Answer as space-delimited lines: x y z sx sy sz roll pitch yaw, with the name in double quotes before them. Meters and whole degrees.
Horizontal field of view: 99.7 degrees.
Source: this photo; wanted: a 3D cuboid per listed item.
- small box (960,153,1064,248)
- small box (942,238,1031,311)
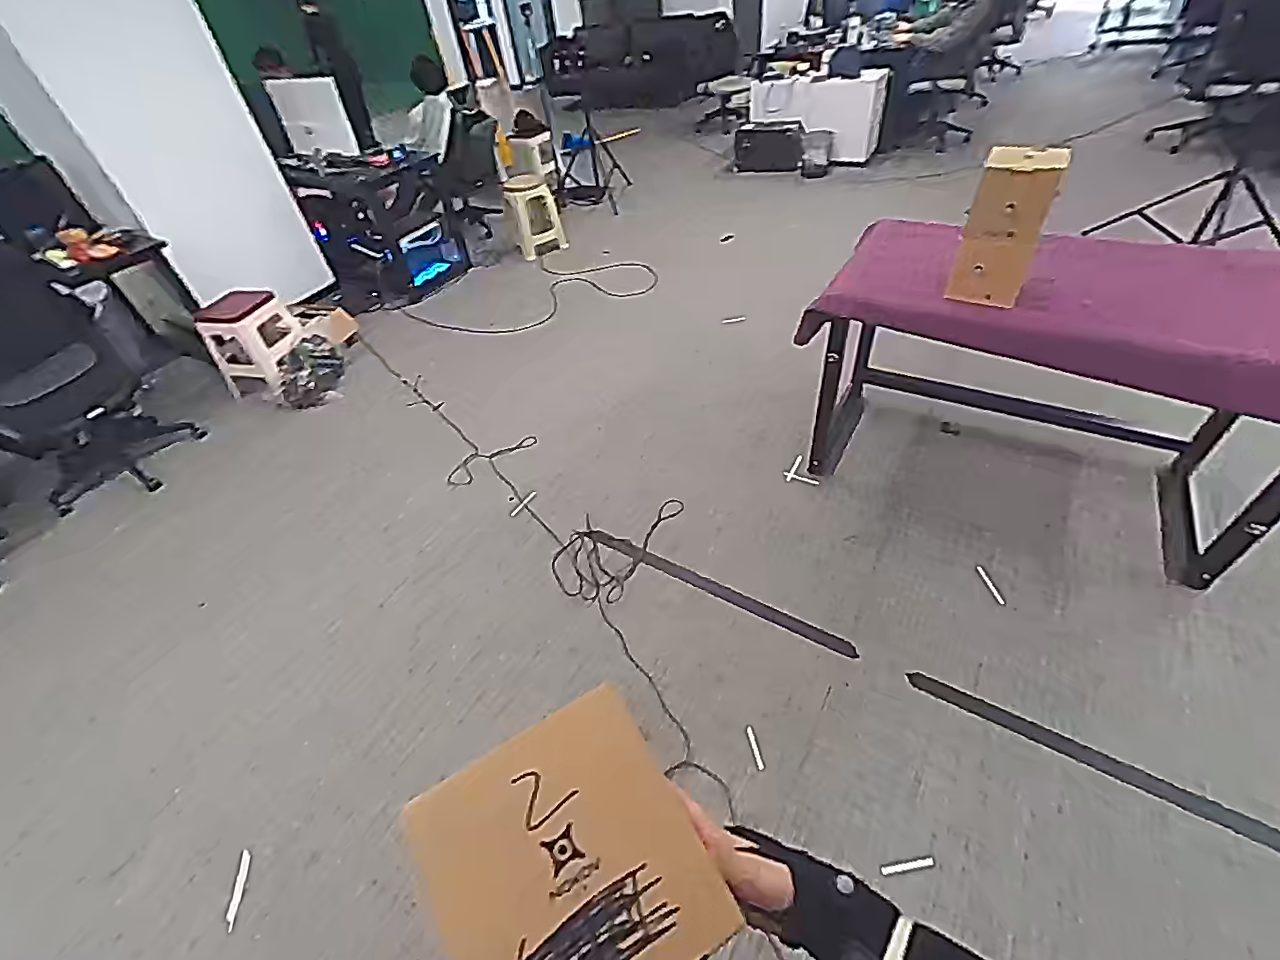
"small box" 0.924 -0.699 1.354 0.168 0.176 0.179 20 50 25
"small box" 0.940 -0.577 1.463 0.168 0.176 0.179 21 50 27
